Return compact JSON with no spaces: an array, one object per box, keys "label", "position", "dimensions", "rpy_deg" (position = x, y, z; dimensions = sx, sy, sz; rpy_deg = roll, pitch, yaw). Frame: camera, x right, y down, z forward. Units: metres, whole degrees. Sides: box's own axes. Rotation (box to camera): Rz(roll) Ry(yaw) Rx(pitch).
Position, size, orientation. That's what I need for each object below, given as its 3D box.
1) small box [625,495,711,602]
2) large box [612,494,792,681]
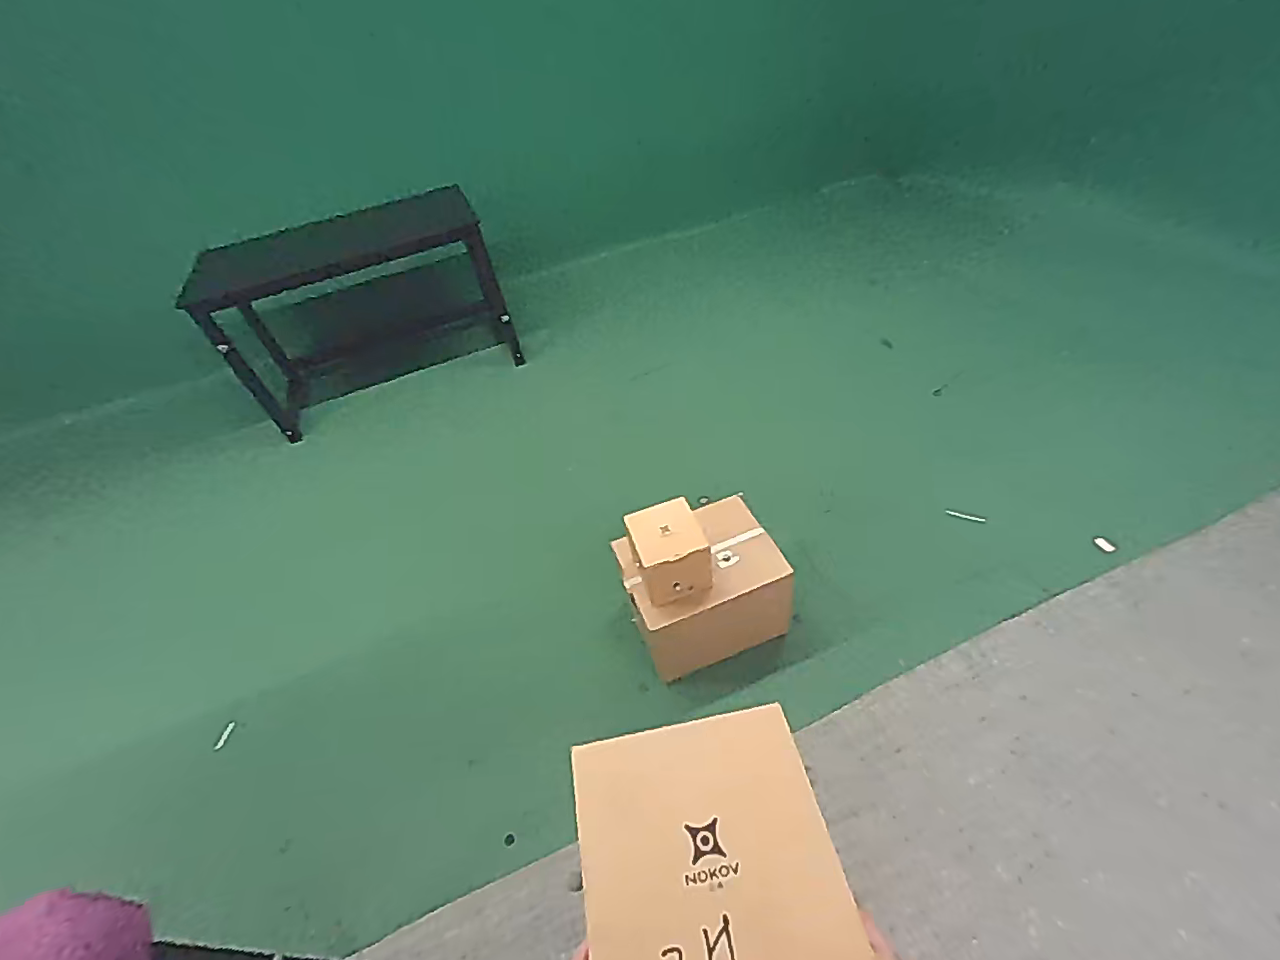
[{"label":"small box","position":[0.071,0.174,1.361],"dimensions":[0.168,0.176,0.179],"rpy_deg":[-18,46,-8]},{"label":"large box","position":[0.174,0.308,1.554],"dimensions":[0.408,0.320,0.320],"rpy_deg":[-20,46,-9]}]
